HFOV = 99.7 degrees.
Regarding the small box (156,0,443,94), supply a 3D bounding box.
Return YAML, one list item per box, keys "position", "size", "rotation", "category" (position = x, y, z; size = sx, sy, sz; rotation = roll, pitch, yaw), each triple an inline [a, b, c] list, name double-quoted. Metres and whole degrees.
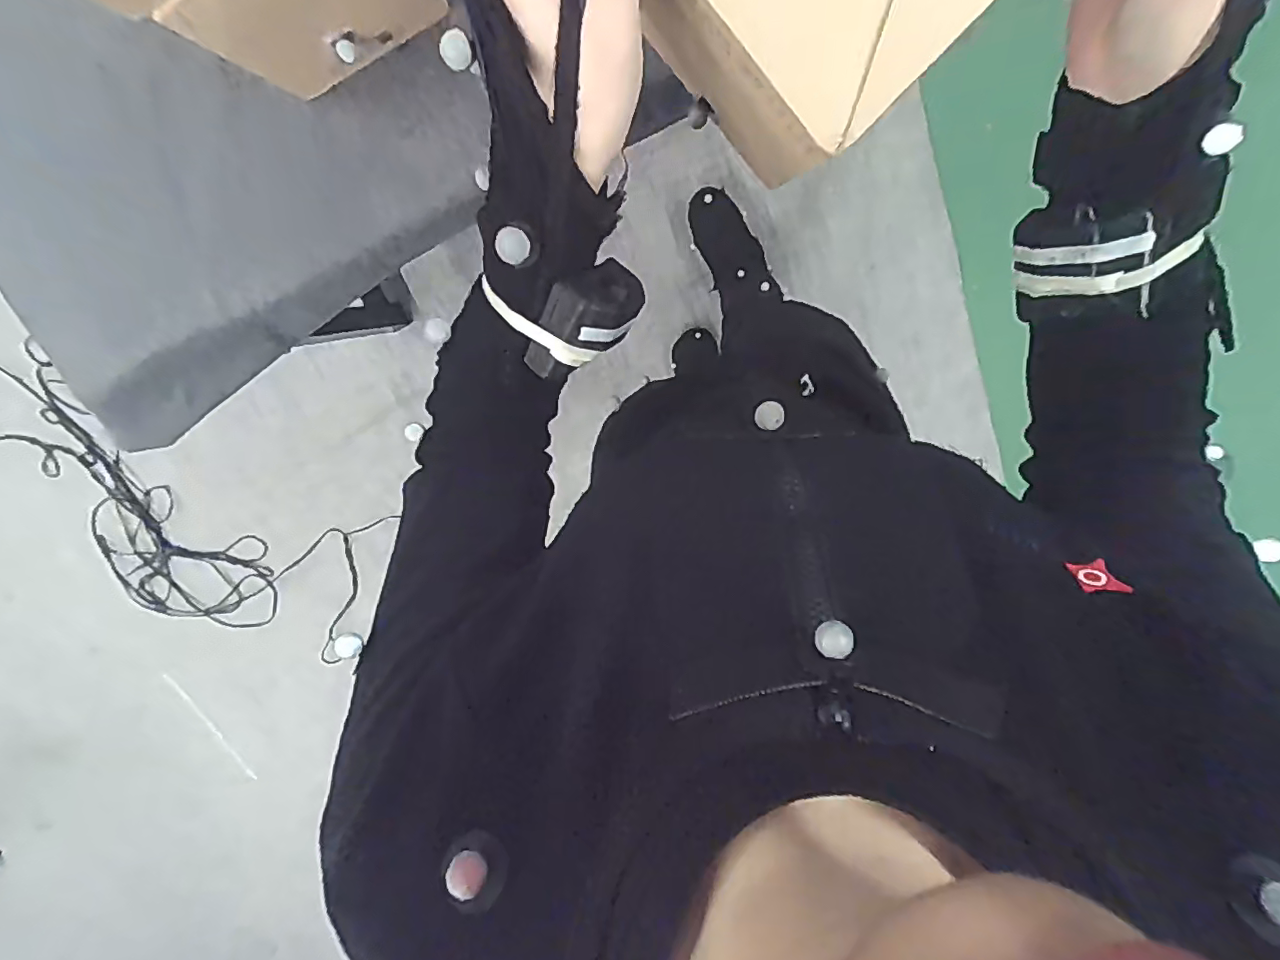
- position: [-0.286, -0.446, 0.410]
  size: [0.168, 0.176, 0.179]
  rotation: [-21, 106, 11]
  category: "small box"
